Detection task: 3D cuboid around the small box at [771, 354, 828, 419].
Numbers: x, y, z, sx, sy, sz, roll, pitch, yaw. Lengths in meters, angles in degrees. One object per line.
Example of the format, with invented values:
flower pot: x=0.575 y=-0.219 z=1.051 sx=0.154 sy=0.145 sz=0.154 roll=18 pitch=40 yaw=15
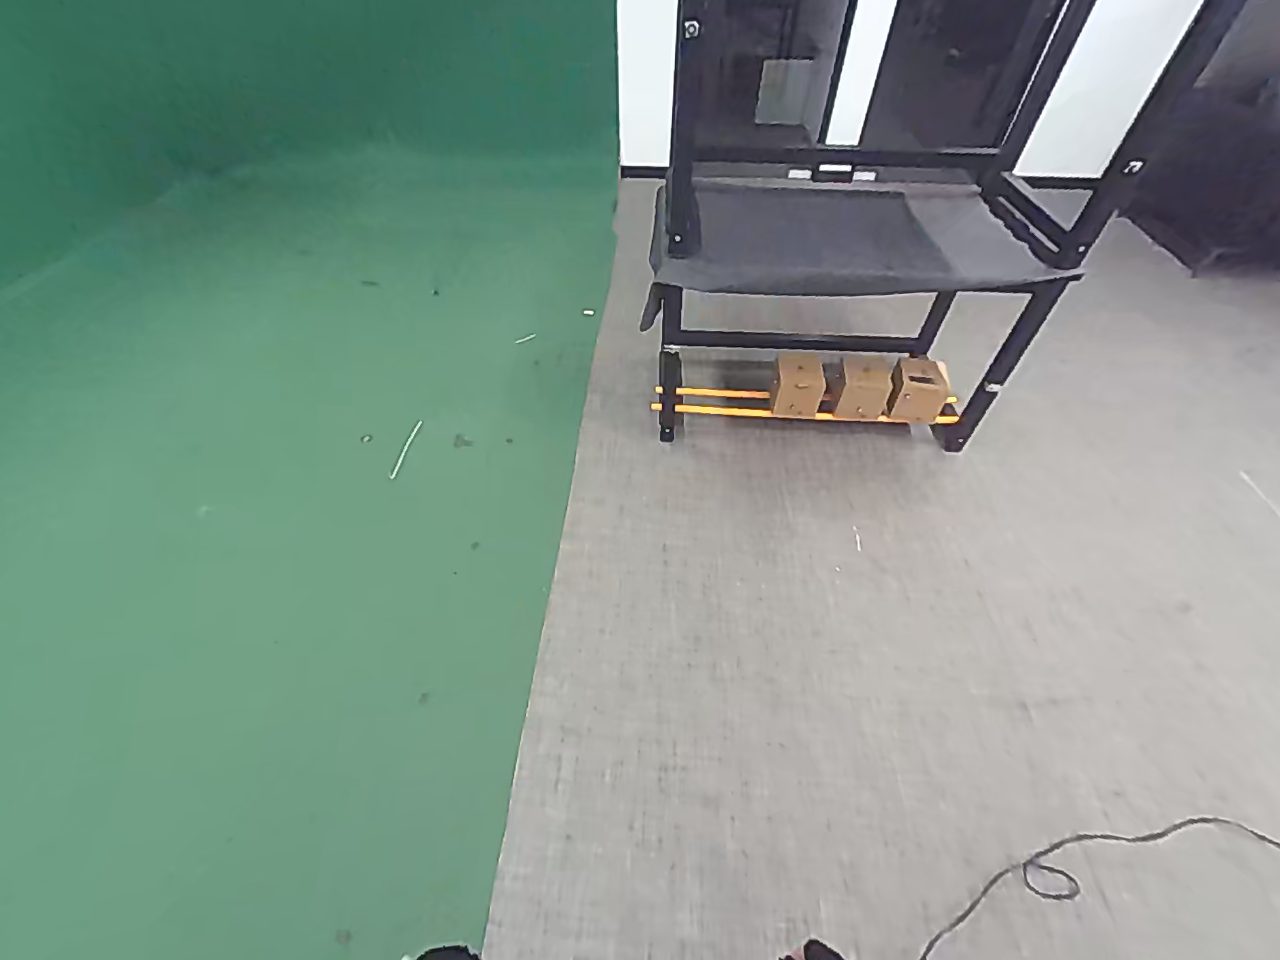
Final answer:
small box: x=0.600 y=-0.357 z=2.060 sx=0.168 sy=0.176 sz=0.179 roll=4 pitch=51 yaw=2
